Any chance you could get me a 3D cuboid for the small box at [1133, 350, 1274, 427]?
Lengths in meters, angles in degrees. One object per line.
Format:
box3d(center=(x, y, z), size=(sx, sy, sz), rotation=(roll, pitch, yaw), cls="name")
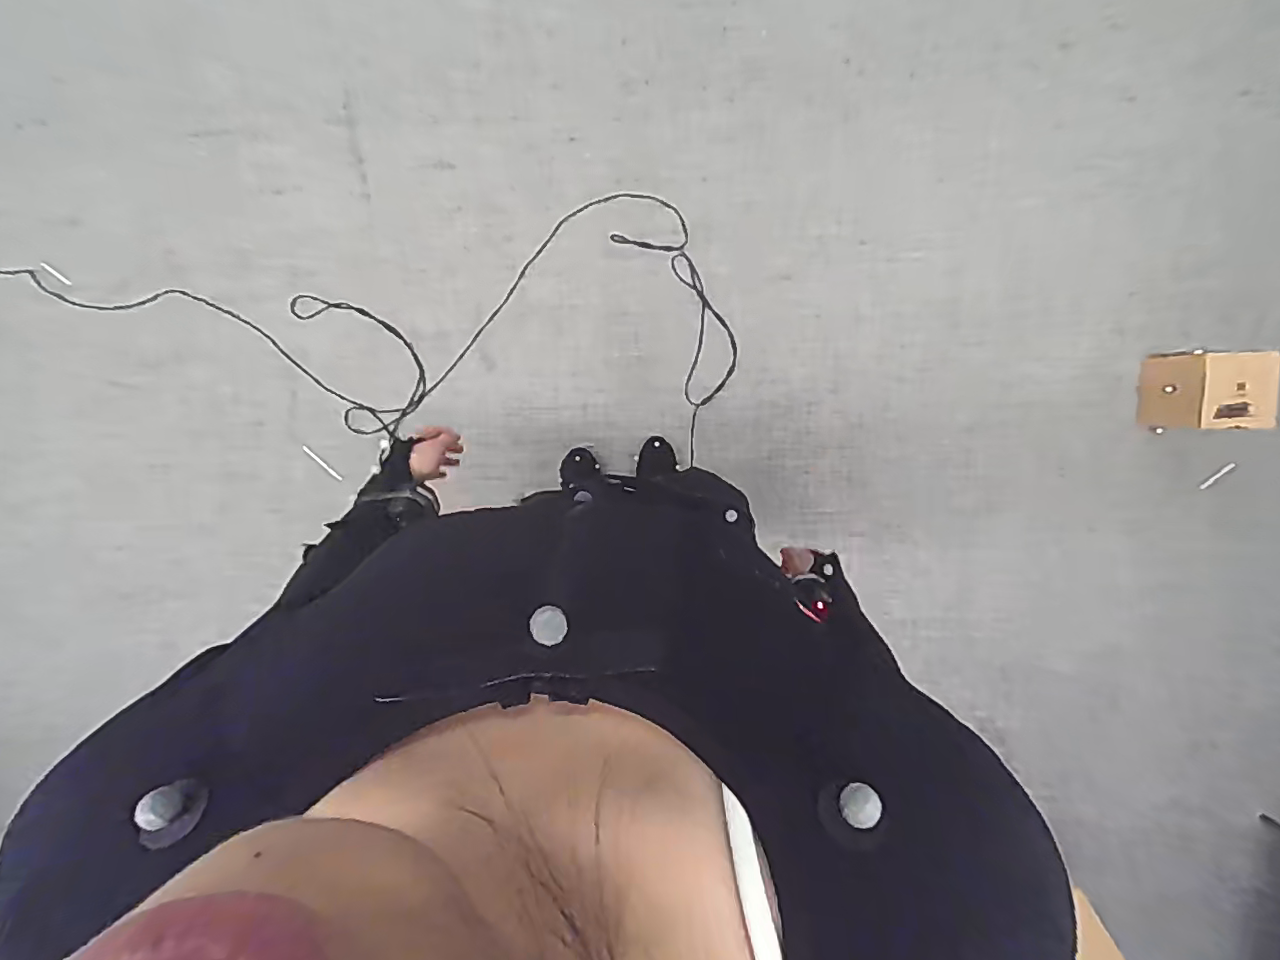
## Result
box3d(center=(1.367, -0.221, 1.326), size=(0.168, 0.176, 0.179), rotation=(0, 97, 3), cls="small box")
